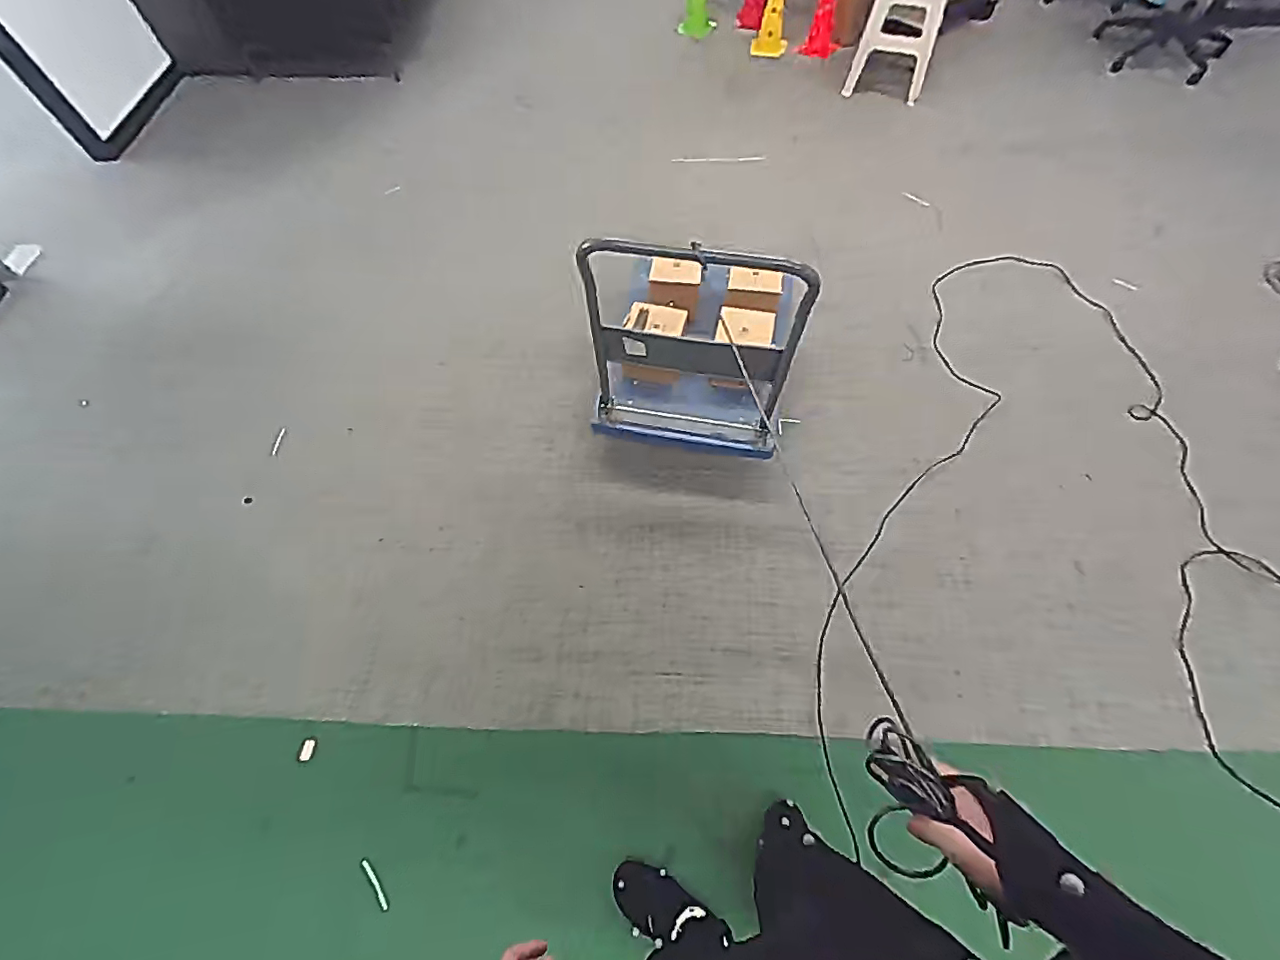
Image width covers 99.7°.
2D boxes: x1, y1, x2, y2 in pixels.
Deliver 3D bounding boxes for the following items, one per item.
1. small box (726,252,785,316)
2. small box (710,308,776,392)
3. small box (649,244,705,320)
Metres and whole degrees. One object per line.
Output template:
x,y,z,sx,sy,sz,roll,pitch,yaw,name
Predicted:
0.378,-0.625,1.798,0.168,0.176,0.179,8,63,7,small box
0.317,-0.403,1.684,0.168,0.176,0.179,11,63,7,small box
0.126,-0.663,1.826,0.168,0.176,0.179,7,62,5,small box
